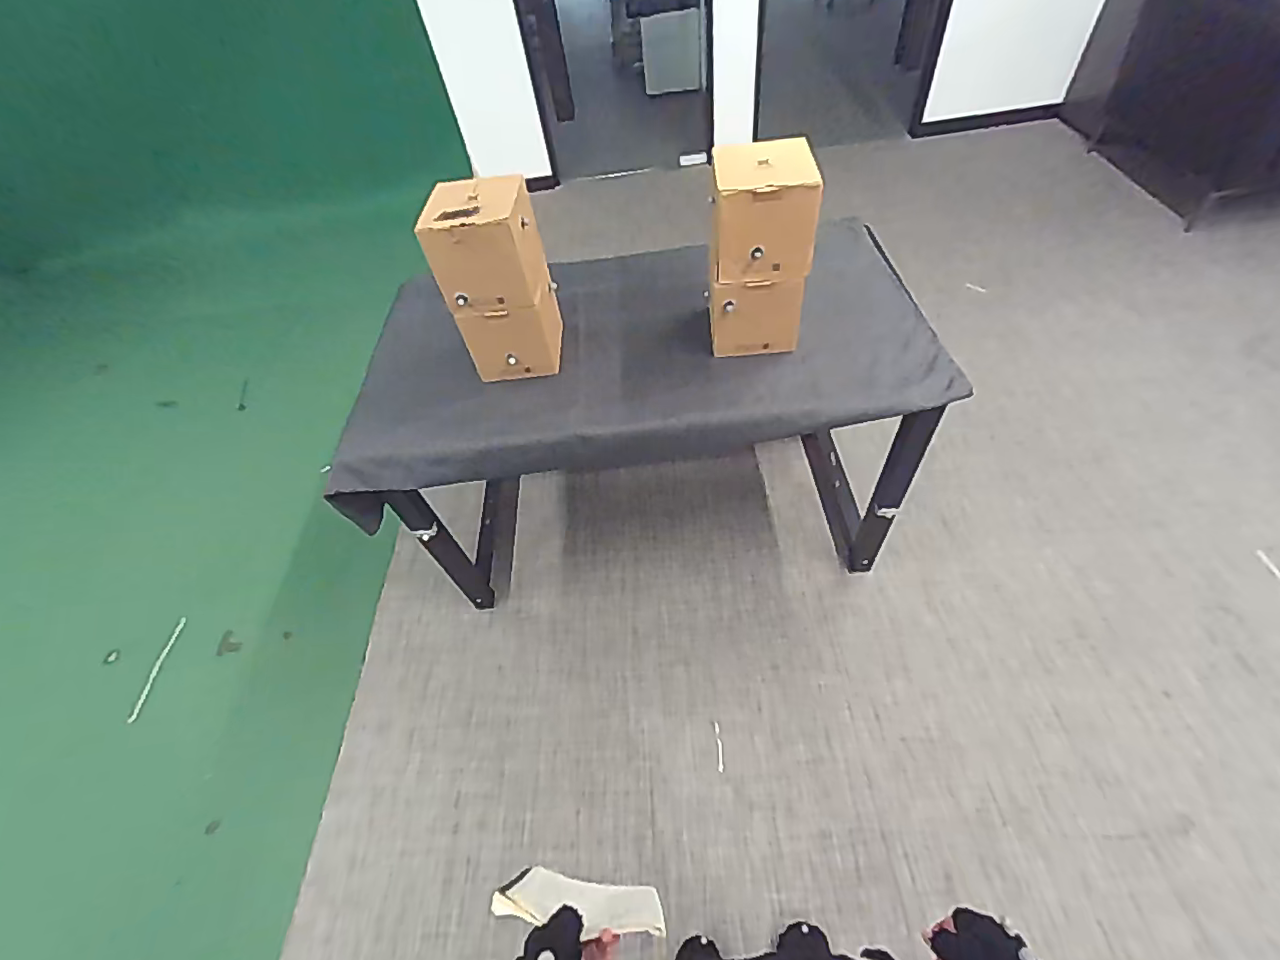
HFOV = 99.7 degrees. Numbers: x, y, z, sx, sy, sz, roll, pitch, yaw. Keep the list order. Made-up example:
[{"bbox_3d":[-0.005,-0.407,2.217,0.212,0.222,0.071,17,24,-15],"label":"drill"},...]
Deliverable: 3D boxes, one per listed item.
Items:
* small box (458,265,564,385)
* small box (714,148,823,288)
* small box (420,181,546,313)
[{"bbox_3d":[-0.259,-0.323,1.136,0.168,0.176,0.179,-6,51,4],"label":"small box"},{"bbox_3d":[0.221,-0.472,0.979,0.168,0.176,0.179,-3,51,6],"label":"small box"},{"bbox_3d":[-0.280,-0.427,1.011,0.168,0.176,0.179,-4,50,5],"label":"small box"}]
